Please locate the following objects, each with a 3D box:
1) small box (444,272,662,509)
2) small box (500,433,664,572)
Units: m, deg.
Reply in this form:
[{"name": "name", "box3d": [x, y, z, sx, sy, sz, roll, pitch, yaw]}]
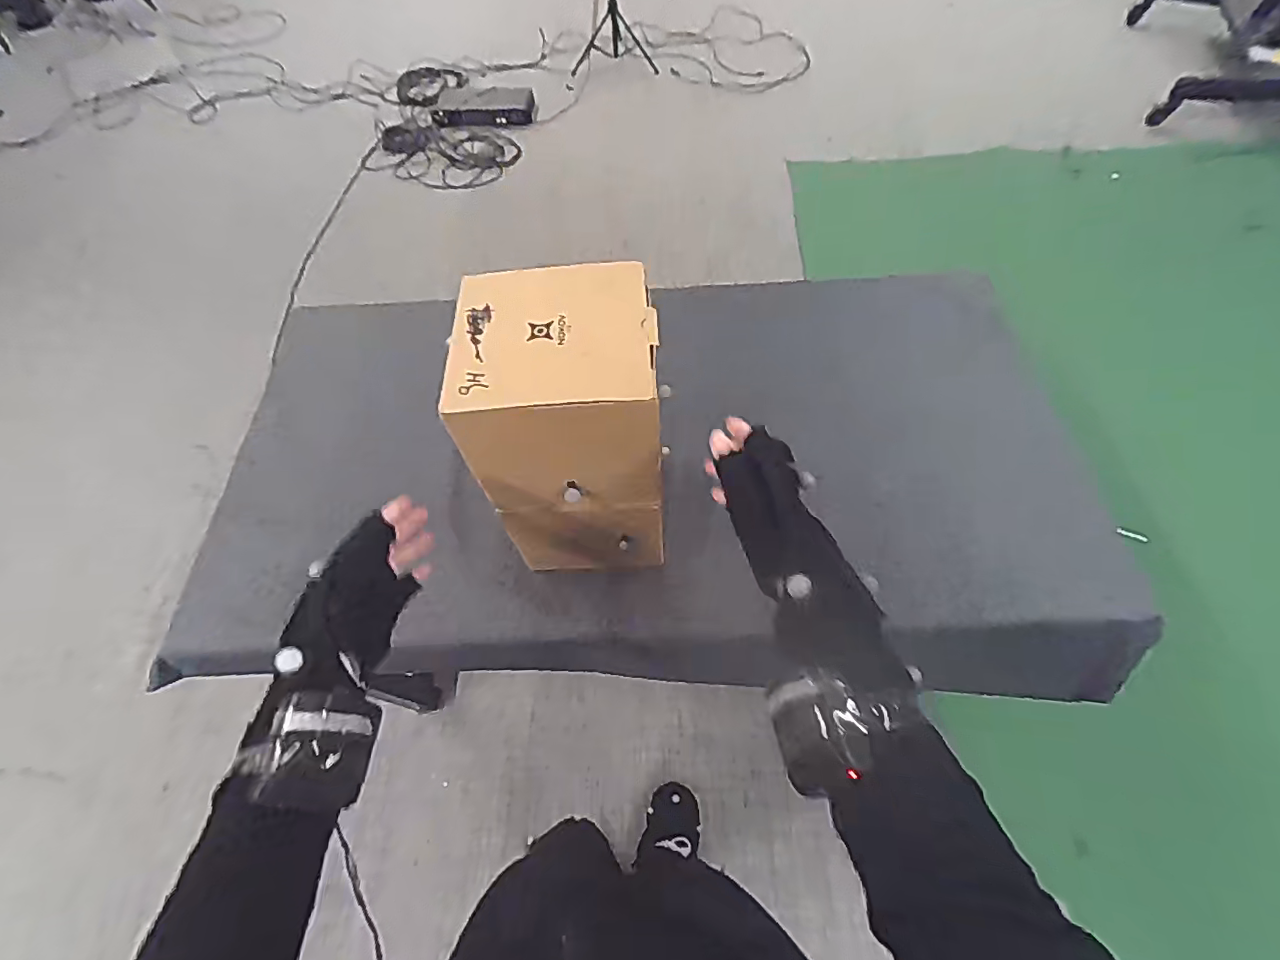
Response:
[{"name": "small box", "box3d": [-0.071, -0.082, 0.539, 0.179, 0.176, 0.168, -3, 57, 0]}, {"name": "small box", "box3d": [-0.061, 0.007, 0.677, 0.179, 0.176, 0.168, -4, 58, 2]}]
